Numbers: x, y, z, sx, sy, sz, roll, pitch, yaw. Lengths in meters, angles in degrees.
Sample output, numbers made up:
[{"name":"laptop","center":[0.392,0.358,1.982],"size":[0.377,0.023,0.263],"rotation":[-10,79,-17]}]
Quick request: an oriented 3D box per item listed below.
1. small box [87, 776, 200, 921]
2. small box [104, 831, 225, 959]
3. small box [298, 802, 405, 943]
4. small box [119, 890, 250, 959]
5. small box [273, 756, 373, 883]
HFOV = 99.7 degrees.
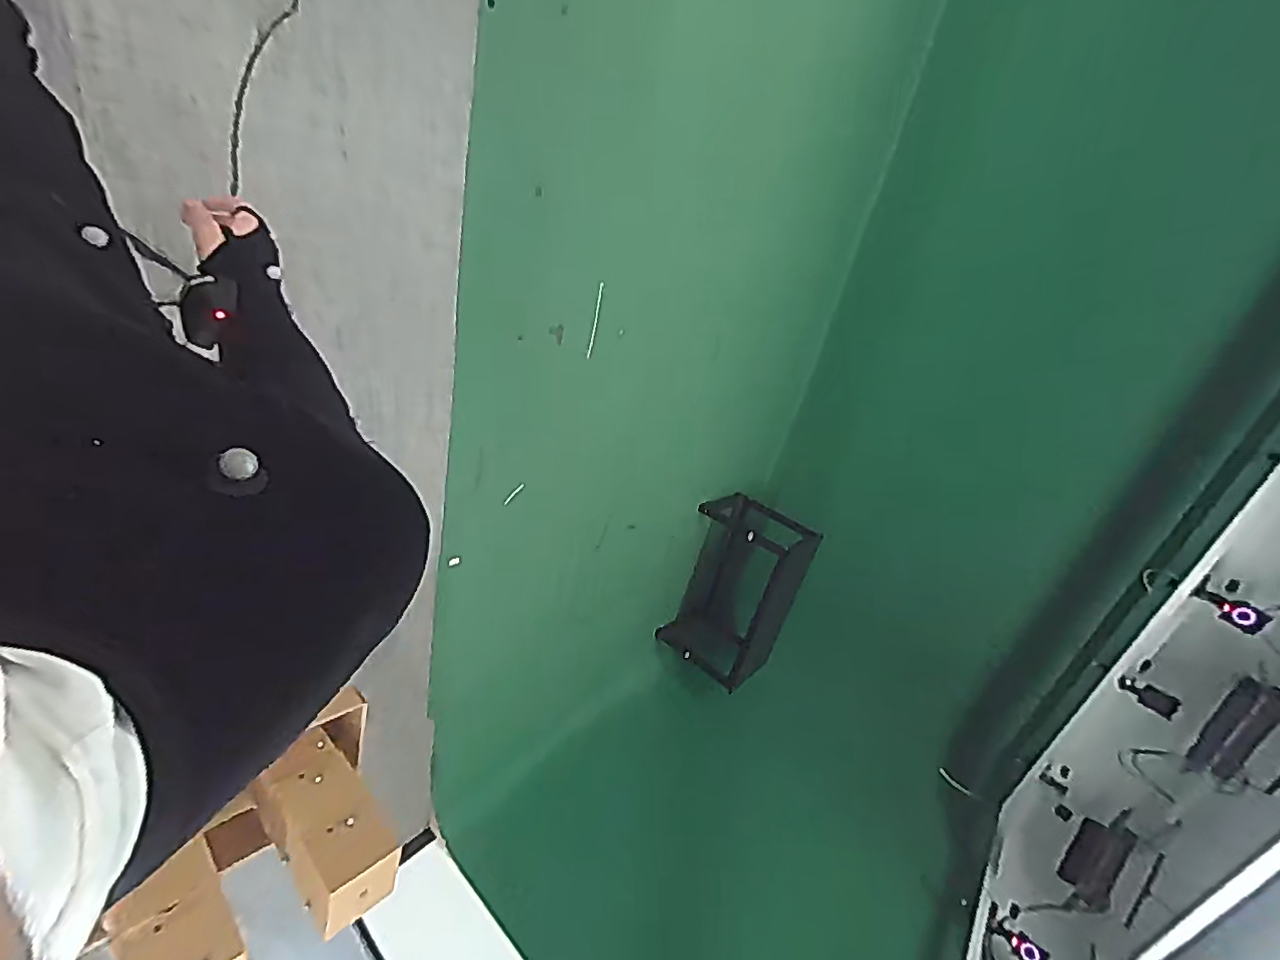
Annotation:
[{"name":"small box","center":[-1.127,0.826,1.232],"size":[0.168,0.176,0.179],"rotation":[-11,123,-50]},{"name":"small box","center":[-1.004,0.890,1.143],"size":[0.168,0.176,0.179],"rotation":[-9,122,-50]},{"name":"small box","center":[-0.692,0.923,1.289],"size":[0.168,0.176,0.179],"rotation":[-10,124,-52]},{"name":"small box","center":[-0.886,0.965,1.057],"size":[0.168,0.176,0.179],"rotation":[-13,125,-49]},{"name":"small box","center":[-0.811,0.854,1.376],"size":[0.168,0.176,0.179],"rotation":[-9,122,-52]}]
